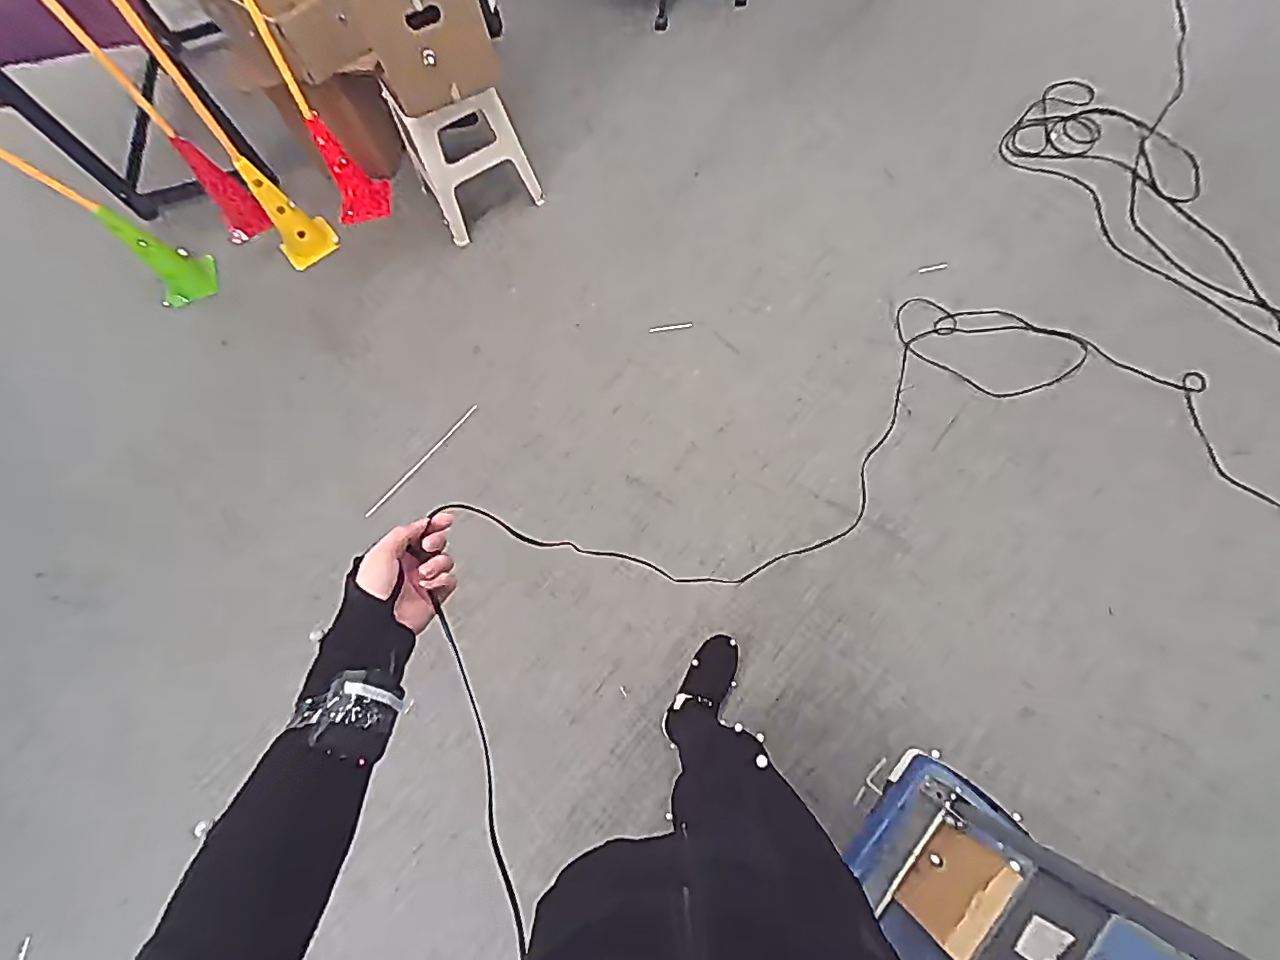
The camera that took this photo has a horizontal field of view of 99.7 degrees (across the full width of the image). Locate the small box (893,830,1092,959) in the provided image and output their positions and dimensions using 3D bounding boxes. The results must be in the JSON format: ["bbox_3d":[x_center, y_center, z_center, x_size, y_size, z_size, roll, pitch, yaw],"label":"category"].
[{"bbox_3d":[0.567,0.733,0.894,0.168,0.176,0.179,-42,80,-10],"label":"small box"}]
